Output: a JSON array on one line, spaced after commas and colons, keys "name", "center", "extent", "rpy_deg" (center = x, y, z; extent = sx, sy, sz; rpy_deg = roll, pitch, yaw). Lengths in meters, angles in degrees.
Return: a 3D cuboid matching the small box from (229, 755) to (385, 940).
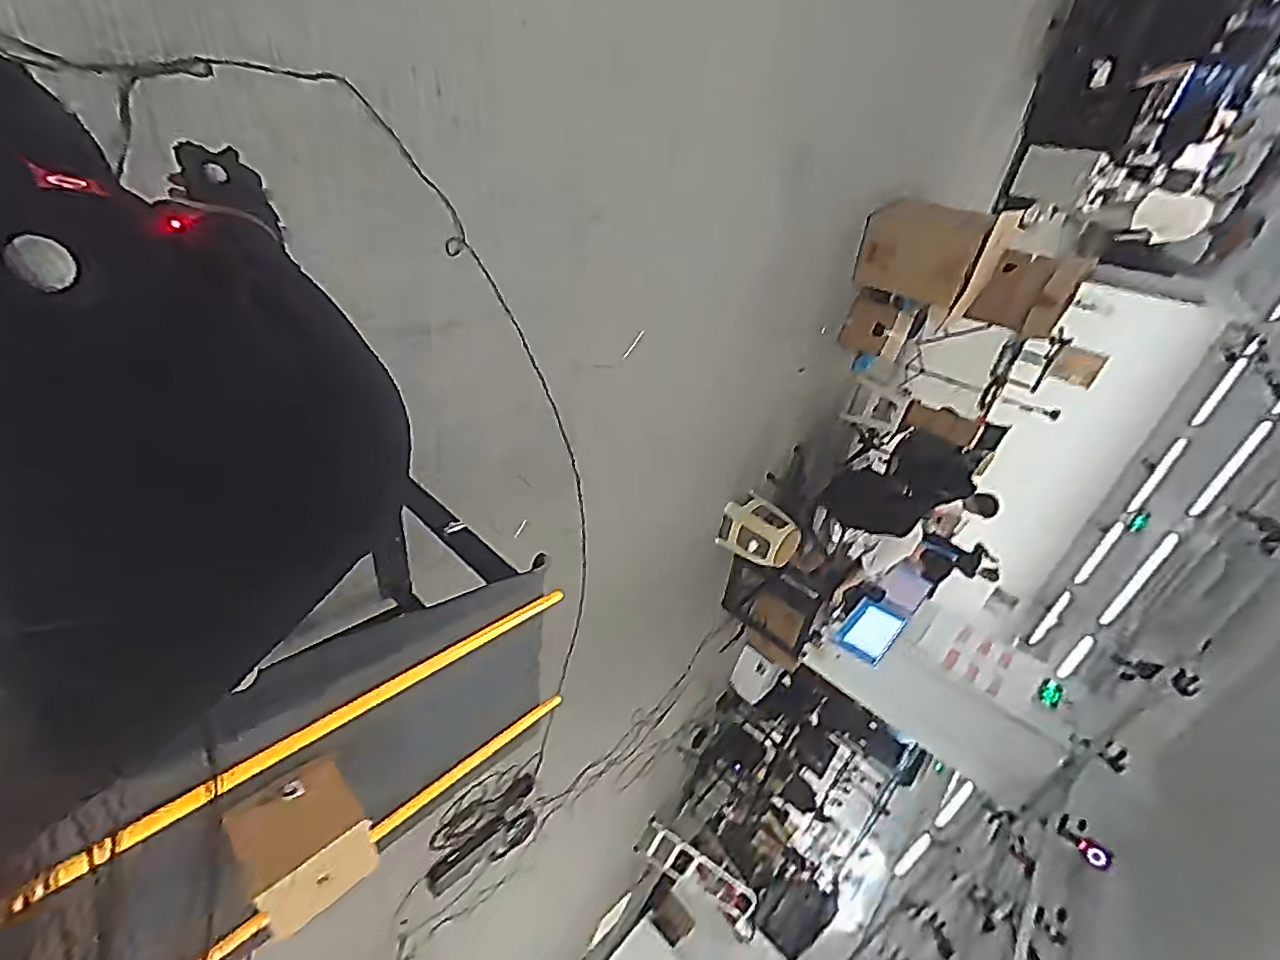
[{"name": "small box", "center": [-0.572, 0.625, 0.938], "extent": [0.168, 0.176, 0.179], "rpy_deg": [-27, 135, -41]}]
